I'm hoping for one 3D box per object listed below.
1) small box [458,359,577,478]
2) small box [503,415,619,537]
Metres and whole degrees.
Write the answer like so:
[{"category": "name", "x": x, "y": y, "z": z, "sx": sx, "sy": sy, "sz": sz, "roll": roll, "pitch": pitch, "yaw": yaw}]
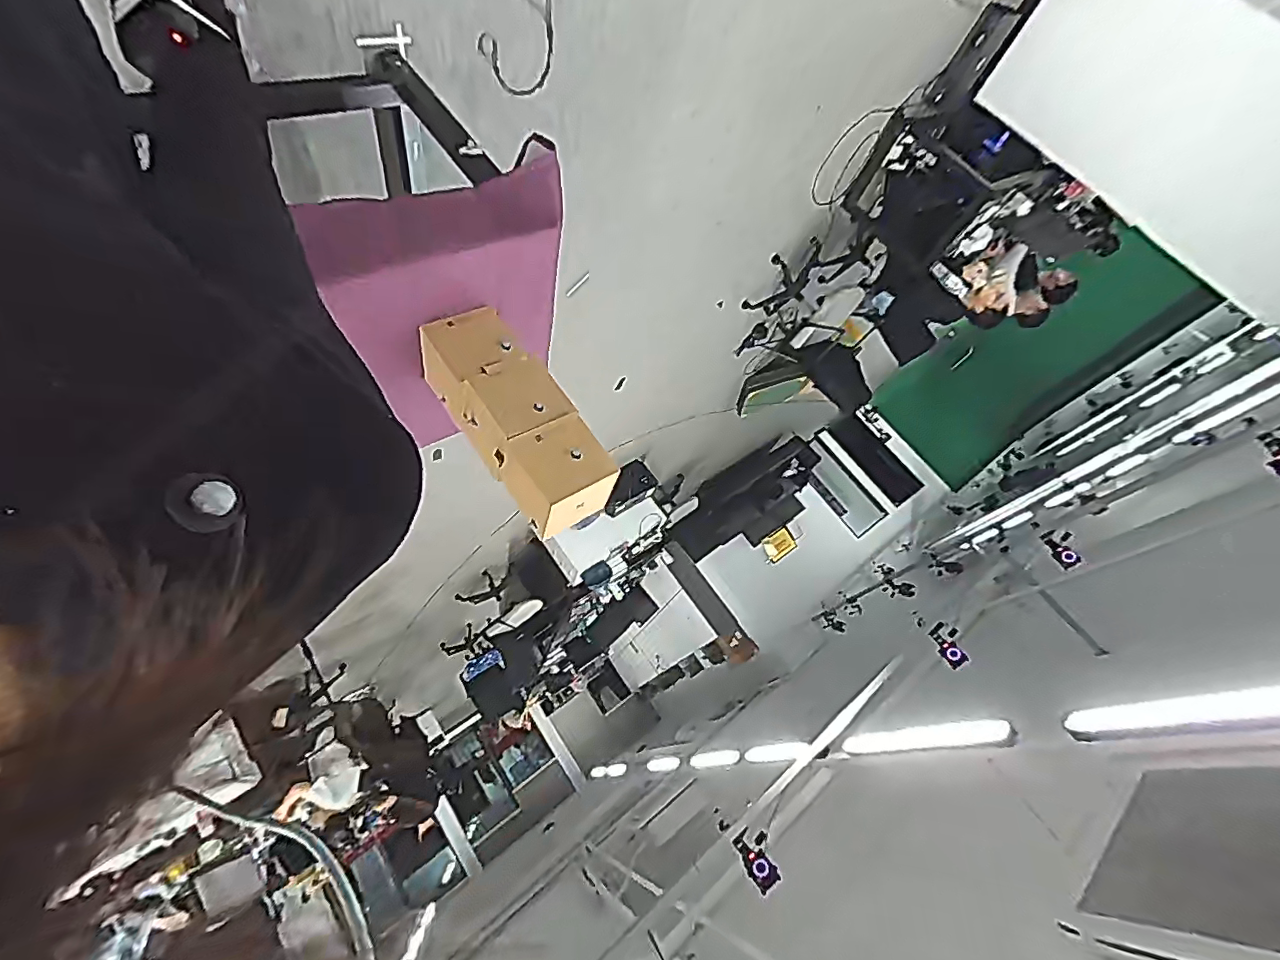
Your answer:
[{"category": "small box", "x": -0.269, "y": -0.139, "z": 1.178, "sx": 0.179, "sy": 0.176, "sz": 0.168, "roll": -27, "pitch": 161, "yaw": -35}, {"category": "small box", "x": -0.172, "y": -0.016, "z": 1.132, "sx": 0.168, "sy": 0.176, "sz": 0.179, "roll": -29, "pitch": 163, "yaw": -29}]
